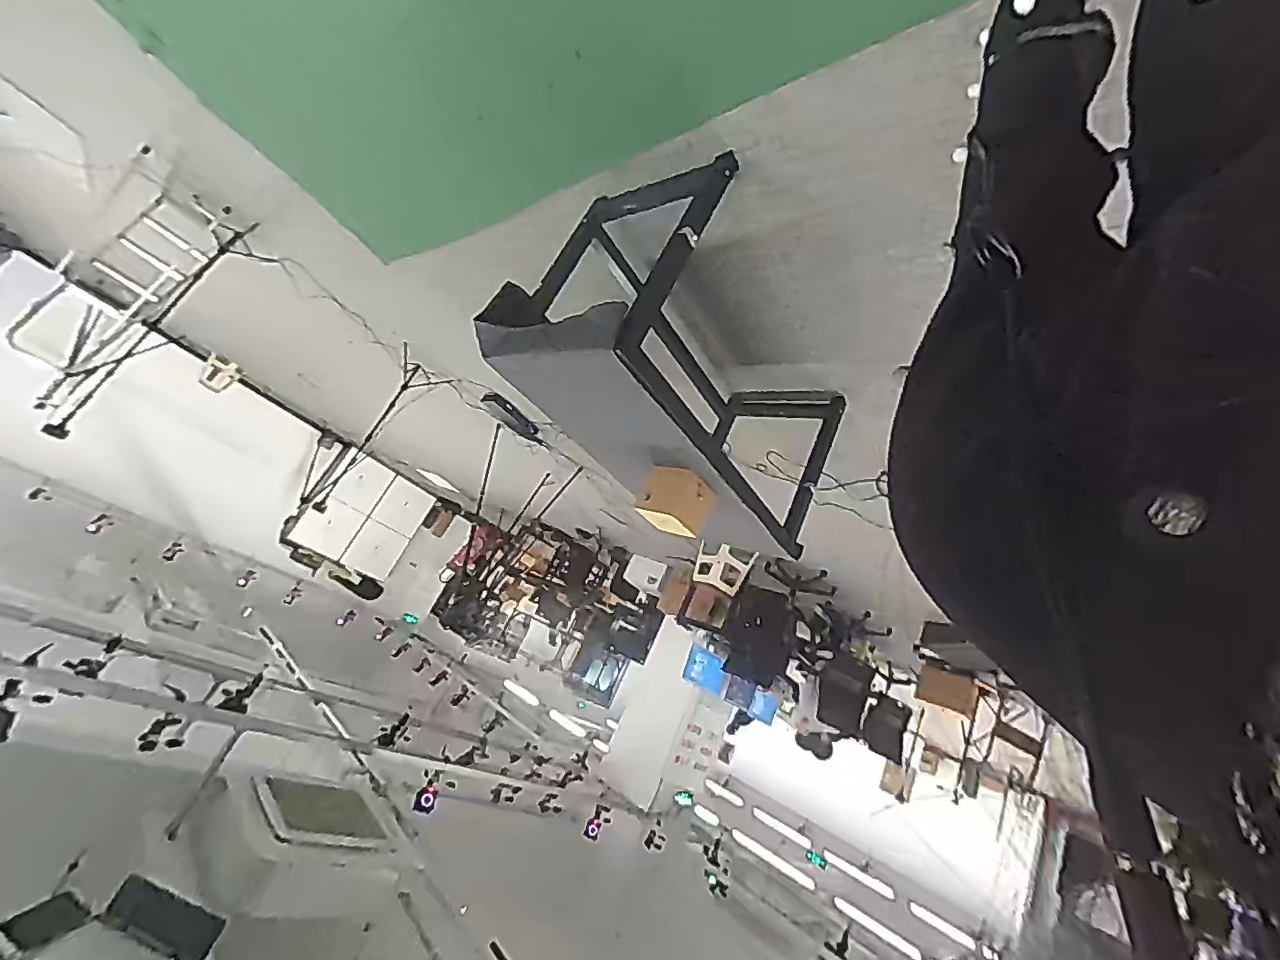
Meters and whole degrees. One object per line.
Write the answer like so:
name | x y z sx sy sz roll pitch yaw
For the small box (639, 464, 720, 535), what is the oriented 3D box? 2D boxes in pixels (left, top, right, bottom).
small box | 0.136 0.061 1.801 0.179 0.176 0.168 9 156 45
